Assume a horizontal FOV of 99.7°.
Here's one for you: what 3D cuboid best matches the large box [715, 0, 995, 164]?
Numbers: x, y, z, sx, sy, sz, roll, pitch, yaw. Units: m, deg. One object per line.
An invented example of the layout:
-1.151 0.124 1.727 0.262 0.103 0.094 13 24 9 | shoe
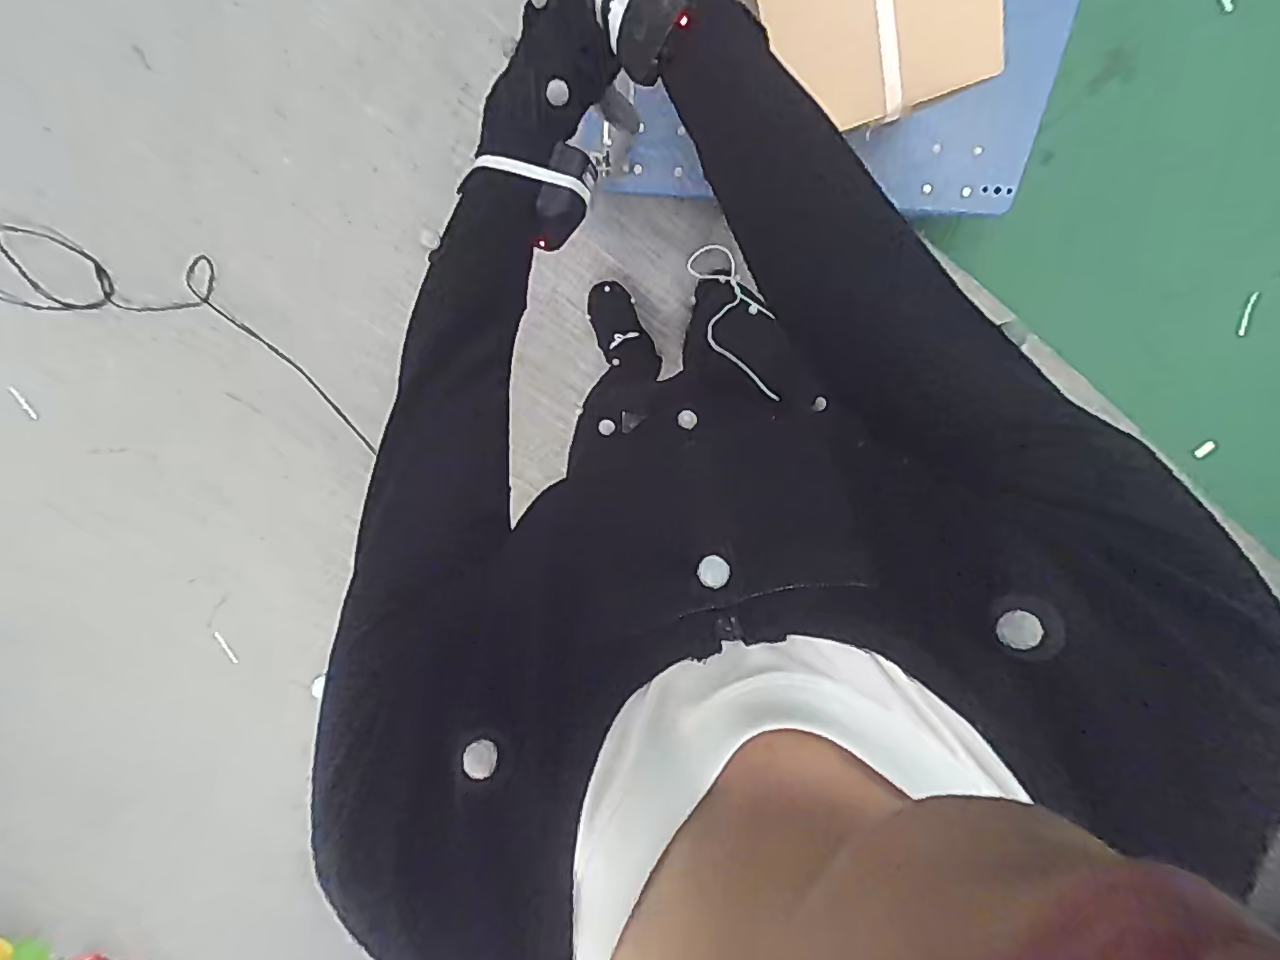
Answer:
0.291 -0.767 0.828 0.320 0.320 0.408 -15 113 8 | large box
